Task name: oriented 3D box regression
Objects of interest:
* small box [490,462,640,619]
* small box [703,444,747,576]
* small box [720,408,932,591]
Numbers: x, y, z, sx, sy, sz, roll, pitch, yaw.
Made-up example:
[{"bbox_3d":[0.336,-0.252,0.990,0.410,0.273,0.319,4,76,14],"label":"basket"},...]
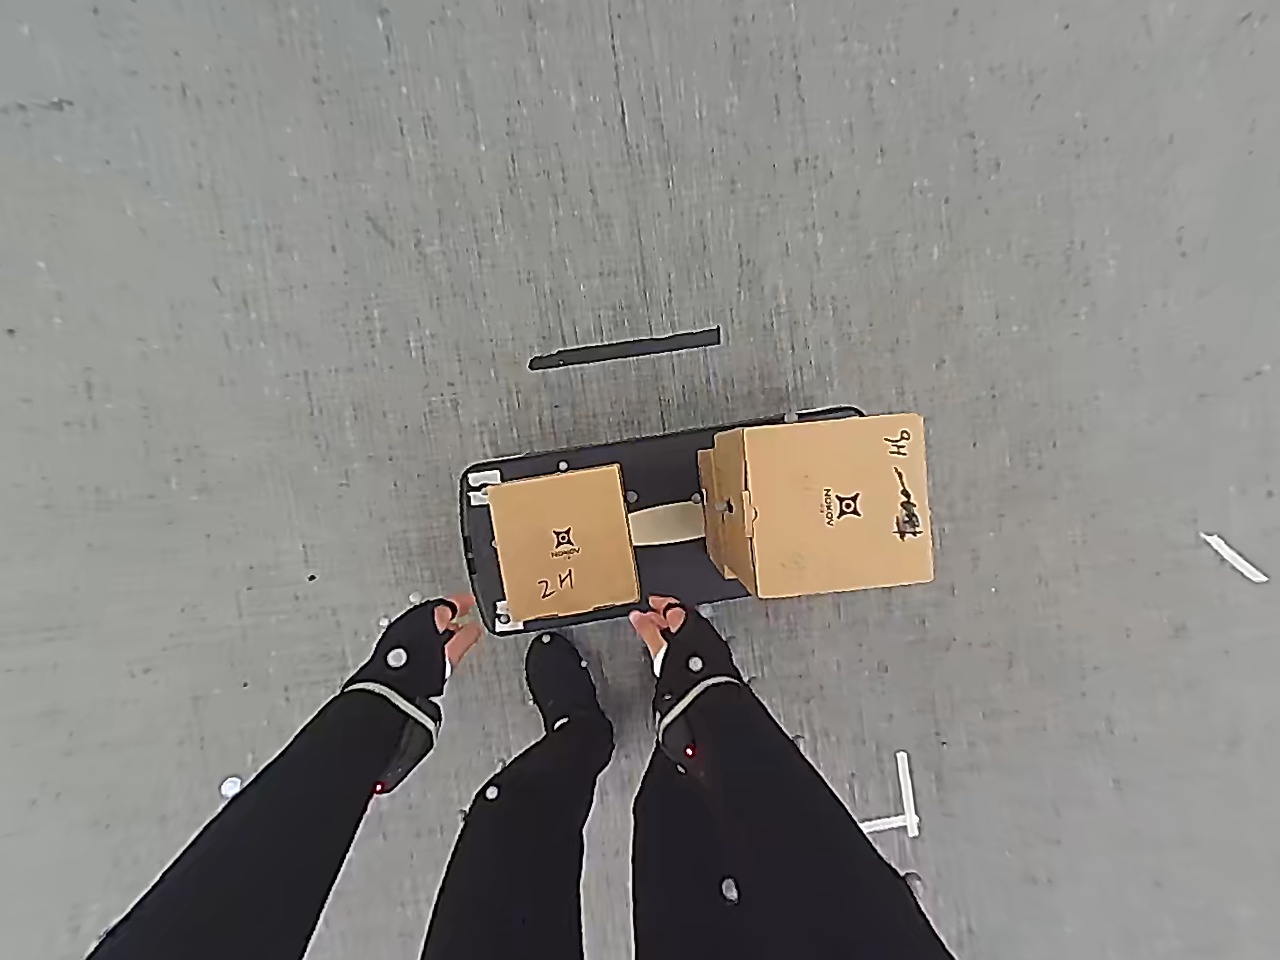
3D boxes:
[{"bbox_3d":[-0.096,0.073,0.748,0.168,0.176,0.179,-9,93,-1],"label":"small box"},{"bbox_3d":[0.181,0.026,0.755,0.179,0.176,0.168,-7,93,-1],"label":"small box"},{"bbox_3d":[0.185,0.017,0.591,0.179,0.176,0.168,-5,93,-1],"label":"small box"}]
